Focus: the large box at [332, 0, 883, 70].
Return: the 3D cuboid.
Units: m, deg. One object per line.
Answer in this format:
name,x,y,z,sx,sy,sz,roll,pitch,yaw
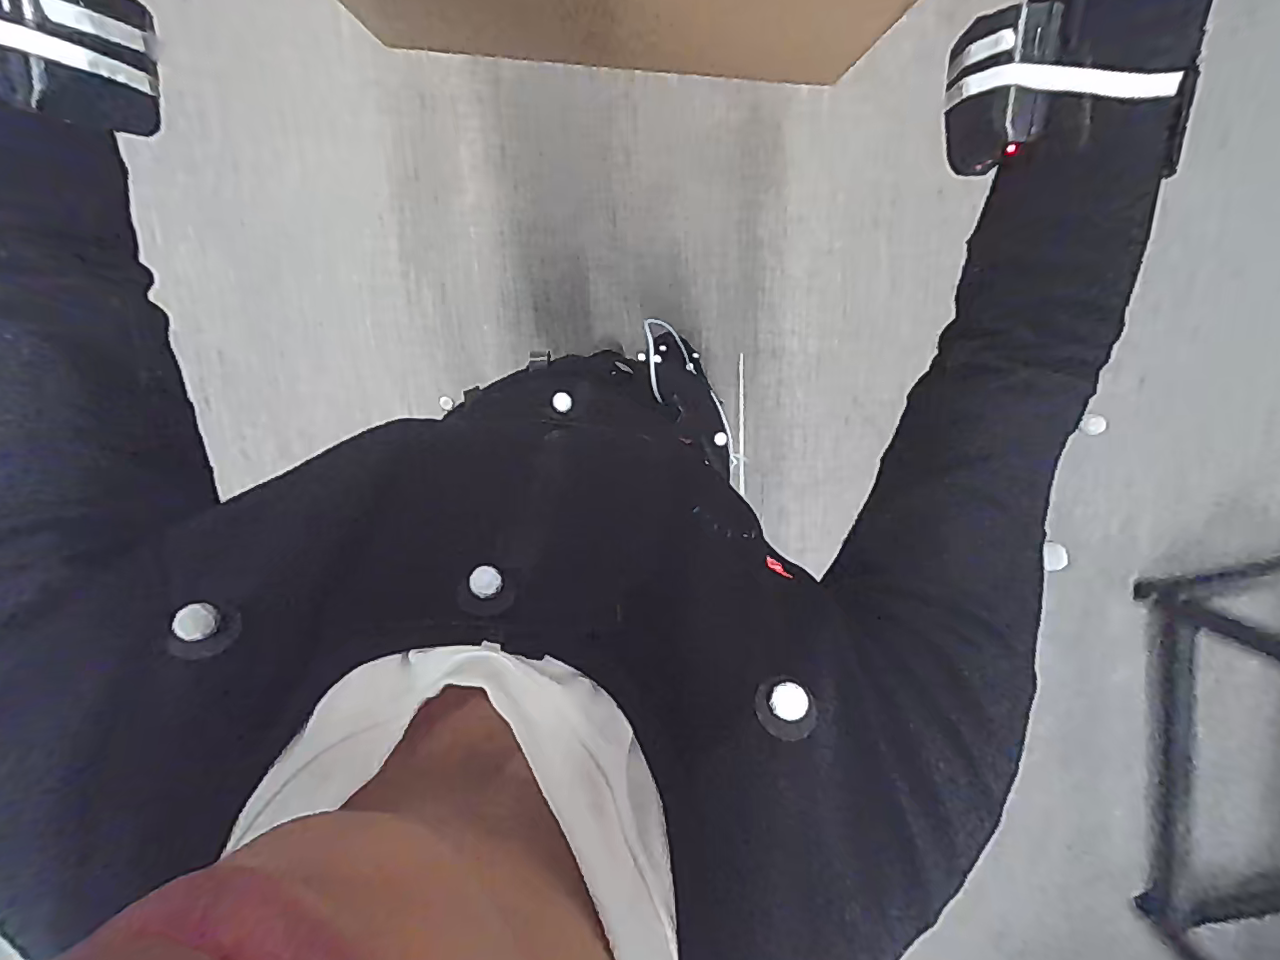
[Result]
large box,-0.023,-0.463,0.290,0.408,0.320,0.320,2,111,-2
